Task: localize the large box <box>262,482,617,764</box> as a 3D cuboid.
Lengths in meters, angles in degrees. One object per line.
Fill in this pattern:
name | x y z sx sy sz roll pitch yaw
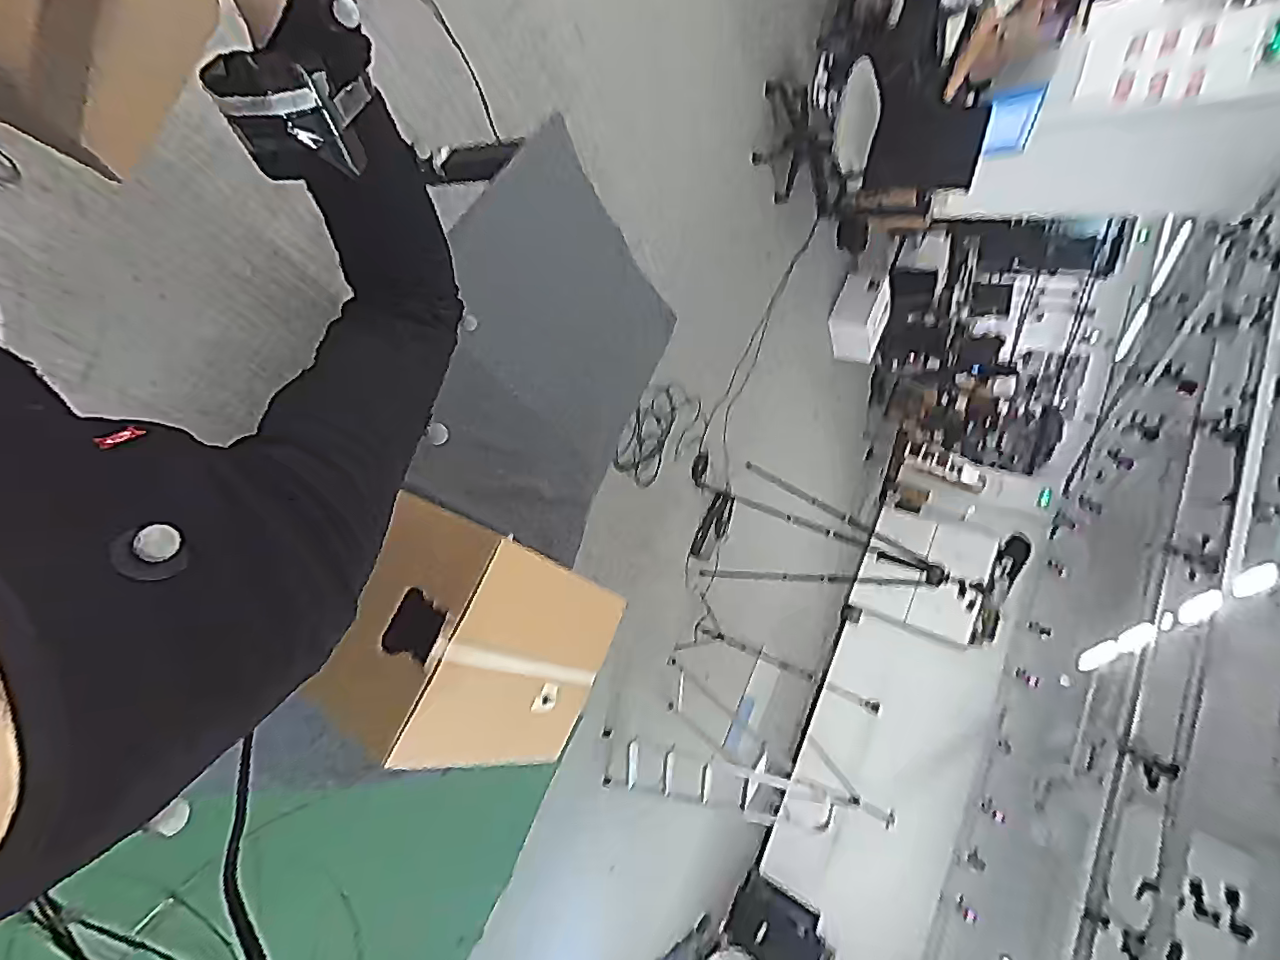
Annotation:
large box | -0.304 0.242 0.916 0.320 0.320 0.408 -65 149 -13
